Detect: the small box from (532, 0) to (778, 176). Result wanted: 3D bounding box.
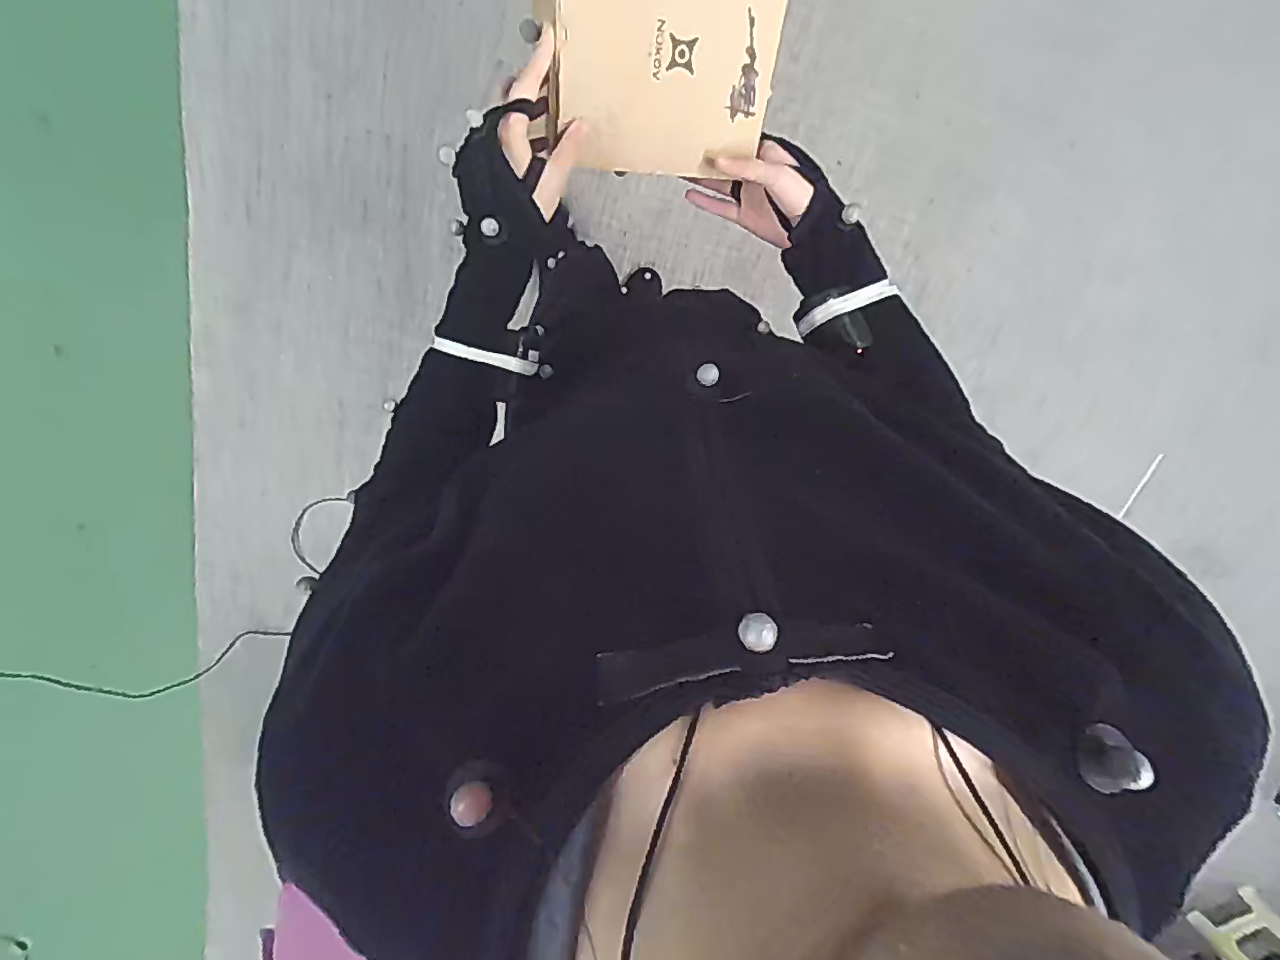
[{"bbox_3d":[-0.002,-0.374,0.466,0.179,0.176,0.168,-3,127,-14],"label":"small box"}]
